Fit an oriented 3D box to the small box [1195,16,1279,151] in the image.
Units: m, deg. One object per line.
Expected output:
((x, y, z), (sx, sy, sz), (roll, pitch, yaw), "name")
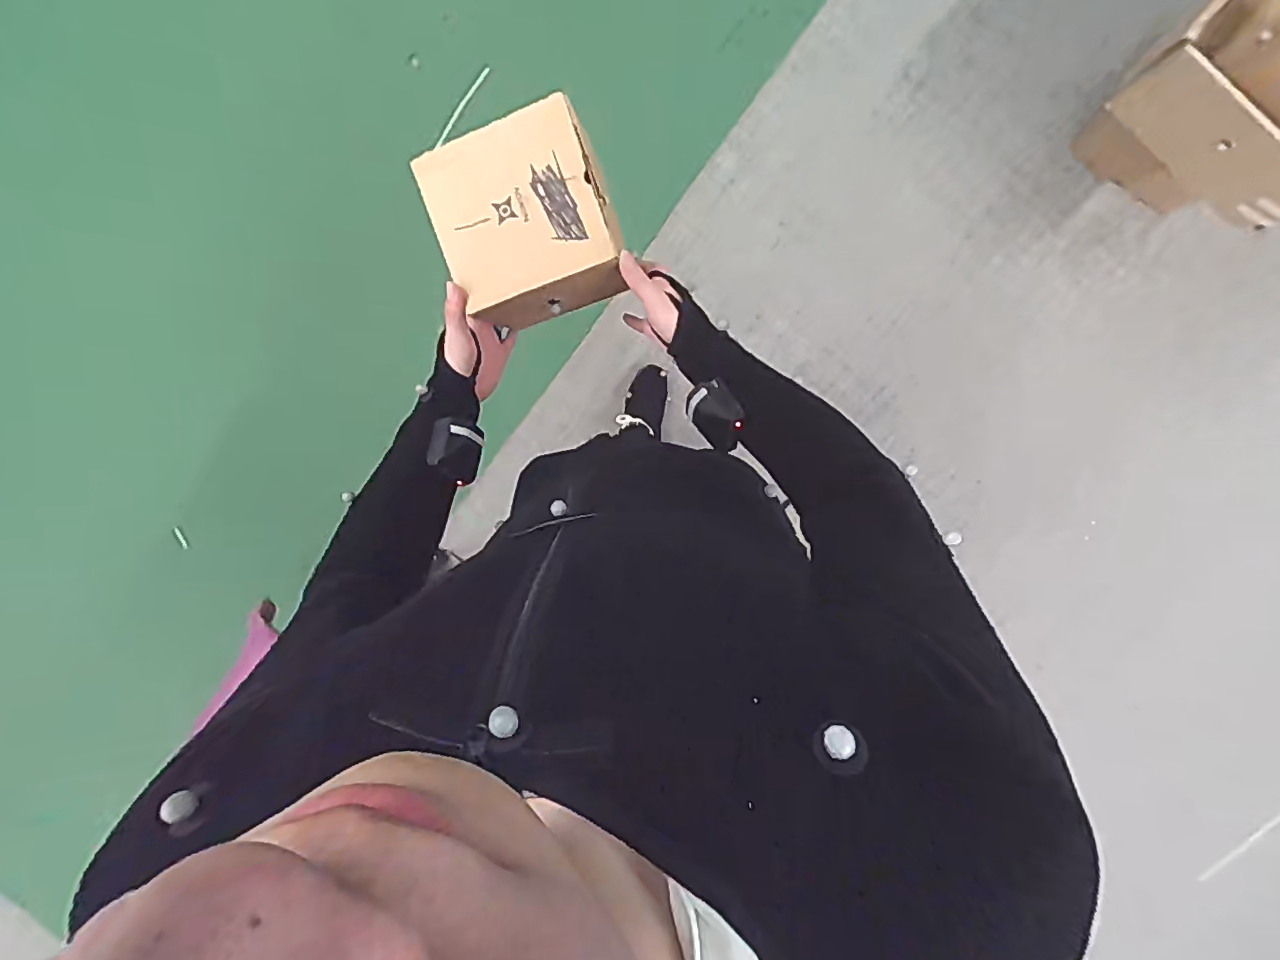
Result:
((1.150, -0.709, 0.931), (0.179, 0.176, 0.168), (39, 98, -2), "small box")

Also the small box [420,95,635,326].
((-0.111, -0.289, 0.625), (0.179, 0.176, 0.168), (-17, 98, 9), "small box")

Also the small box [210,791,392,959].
((-0.593, 0.700, 0.967), (0.179, 0.176, 0.168), (41, 99, -4), "small box")
